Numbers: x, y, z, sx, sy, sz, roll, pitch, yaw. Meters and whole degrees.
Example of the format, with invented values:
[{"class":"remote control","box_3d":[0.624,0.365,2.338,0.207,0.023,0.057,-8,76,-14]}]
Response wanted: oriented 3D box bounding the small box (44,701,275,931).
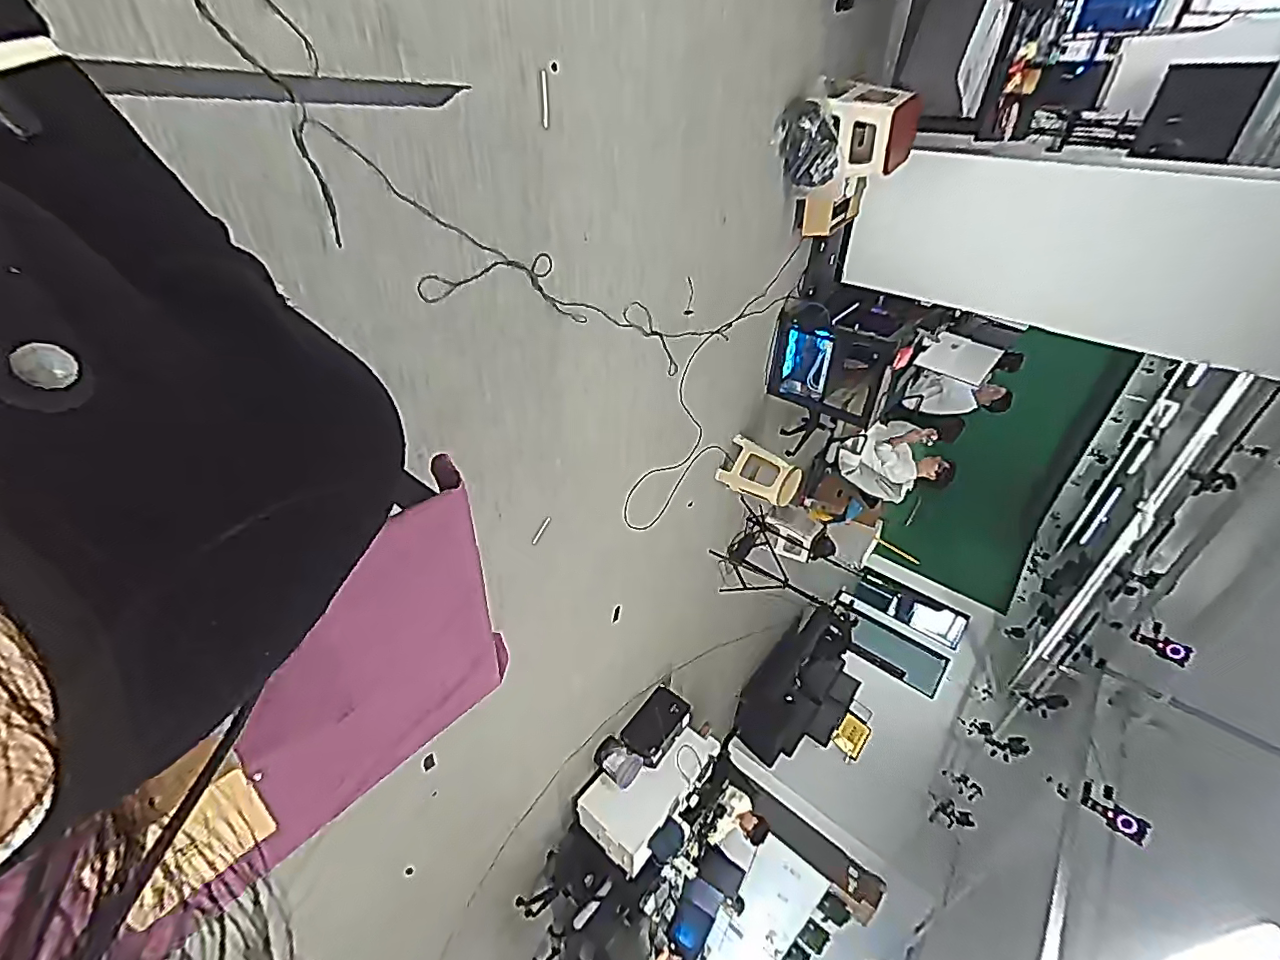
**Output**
[{"class":"small box","box_3d":[-0.644,0.443,0.736,0.168,0.176,0.179,-33,139,-43]}]
